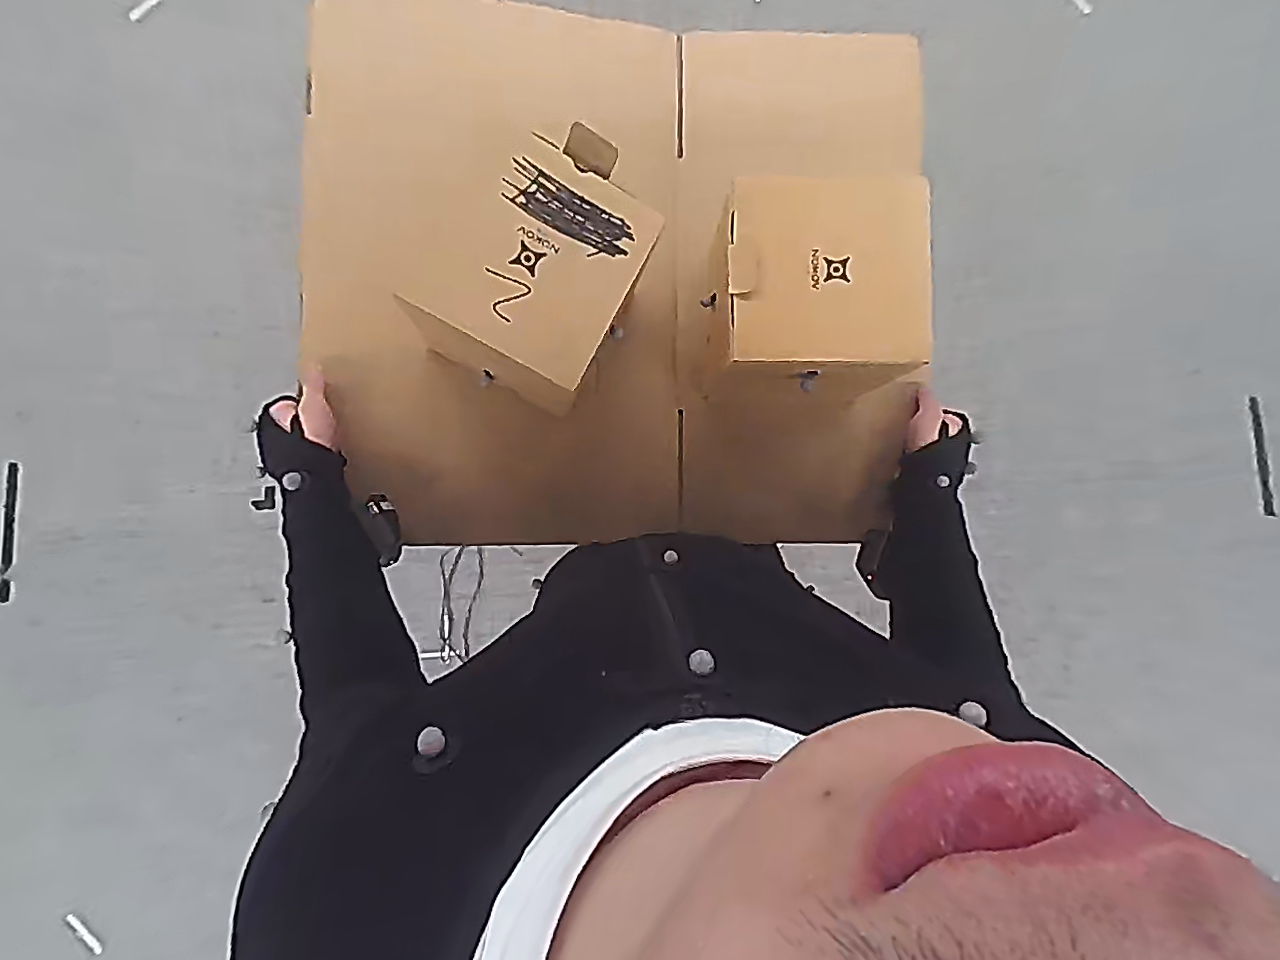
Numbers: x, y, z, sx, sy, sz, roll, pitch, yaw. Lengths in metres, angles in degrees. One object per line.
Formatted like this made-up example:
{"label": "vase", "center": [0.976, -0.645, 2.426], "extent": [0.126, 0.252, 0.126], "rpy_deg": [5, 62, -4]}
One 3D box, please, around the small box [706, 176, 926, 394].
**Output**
{"label": "small box", "center": [0.168, -0.187, 0.564], "extent": [0.179, 0.176, 0.168], "rpy_deg": [0, 88, -1]}
